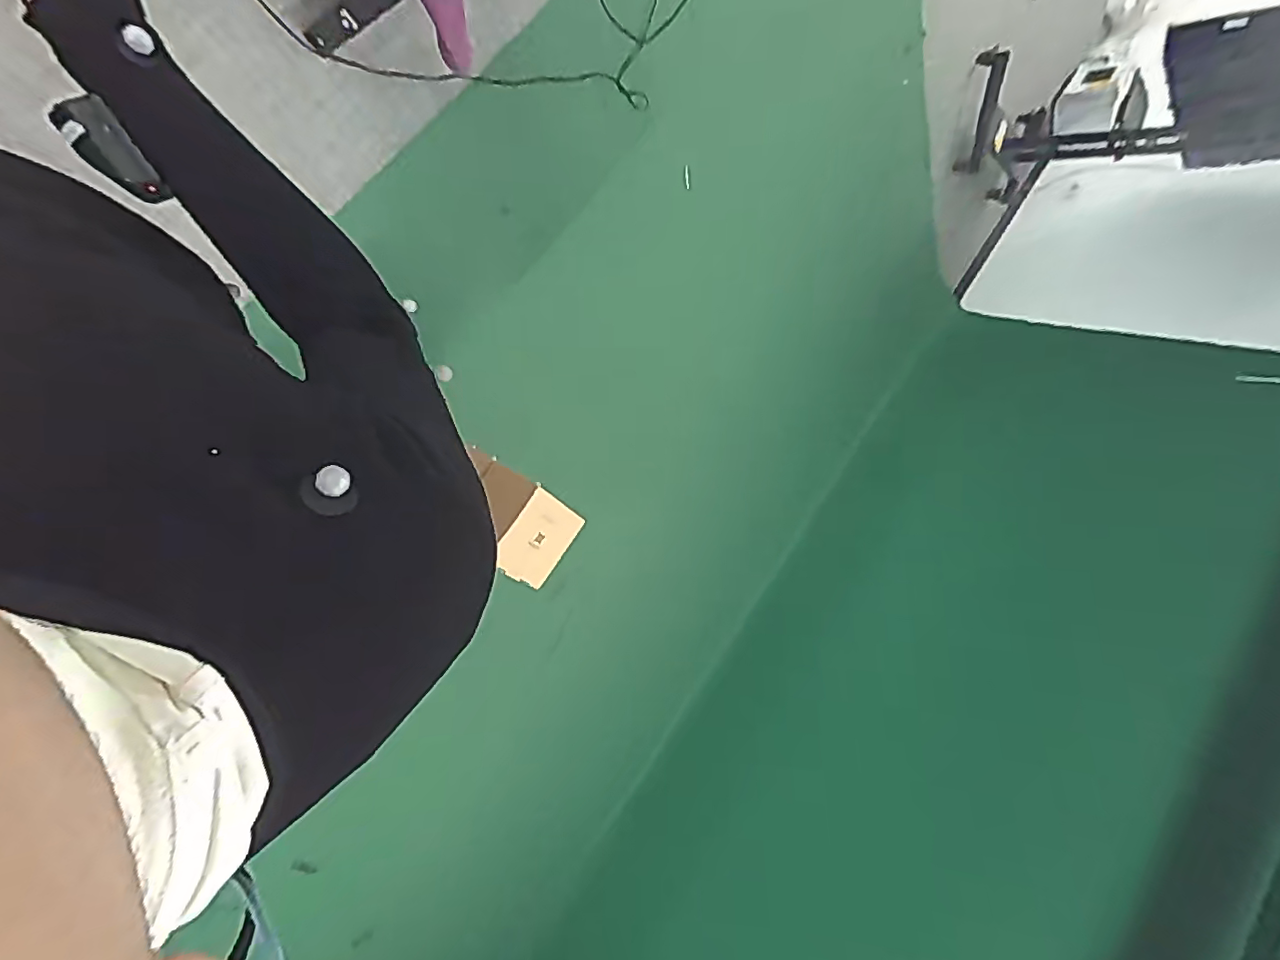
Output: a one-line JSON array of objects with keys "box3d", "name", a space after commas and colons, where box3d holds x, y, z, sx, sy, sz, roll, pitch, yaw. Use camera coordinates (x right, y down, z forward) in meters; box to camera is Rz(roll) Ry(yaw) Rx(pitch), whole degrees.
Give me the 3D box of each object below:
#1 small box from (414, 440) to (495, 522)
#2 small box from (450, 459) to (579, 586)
[{"box3d": [-0.377, 0.027, 1.235, 0.168, 0.176, 0.179, -55, 137, -9], "name": "small box"}, {"box3d": [-0.268, 0.086, 1.129, 0.179, 0.176, 0.168, -55, 139, -10], "name": "small box"}]
